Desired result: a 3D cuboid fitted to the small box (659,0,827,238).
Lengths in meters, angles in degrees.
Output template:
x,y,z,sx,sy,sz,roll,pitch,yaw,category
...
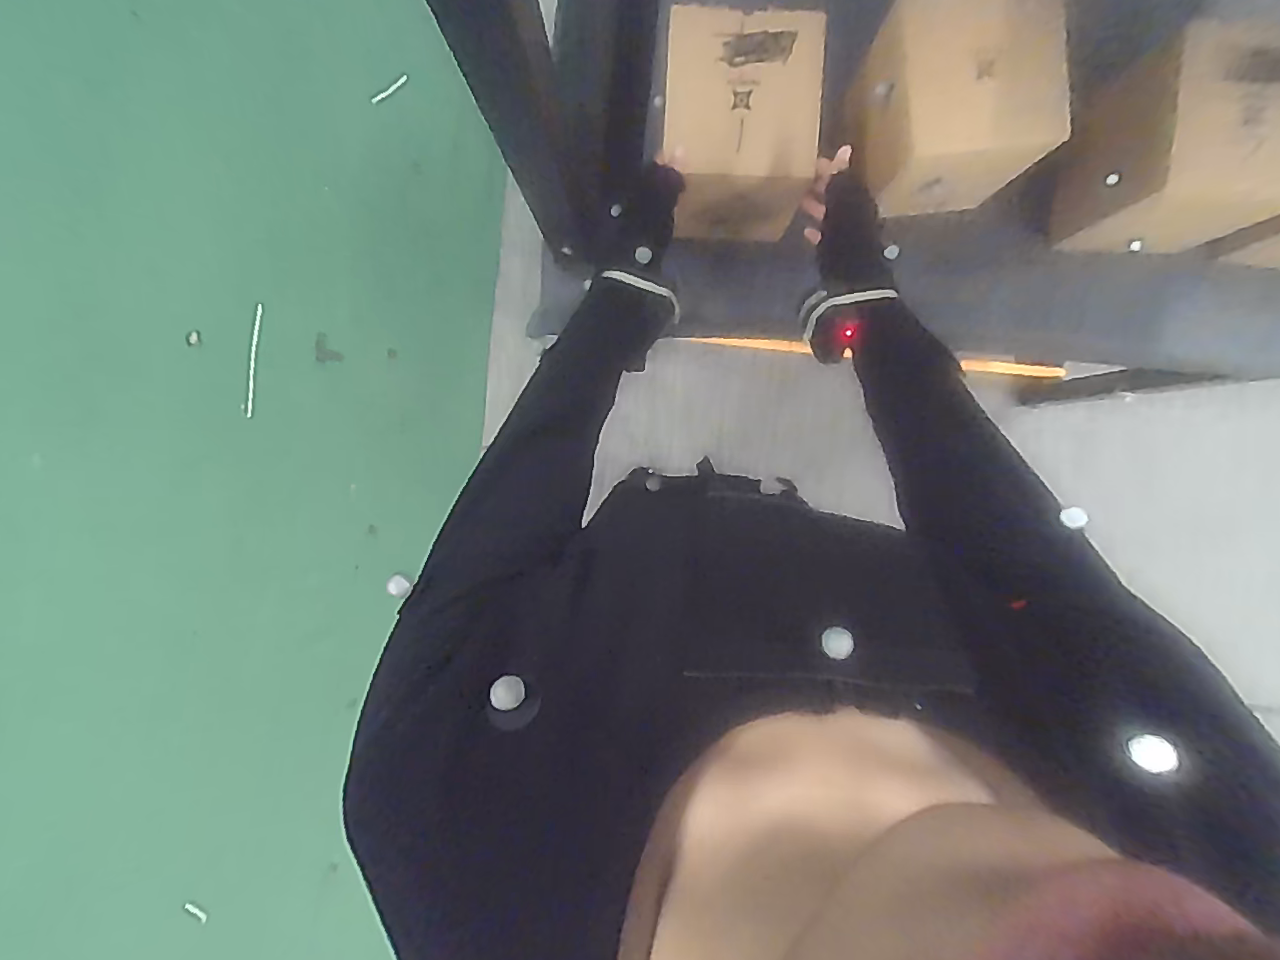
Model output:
x,y,z,sx,sy,sz,roll,pitch,yaw,category
0.111,-0.417,0.648,0.168,0.176,0.179,3,93,1,small box
